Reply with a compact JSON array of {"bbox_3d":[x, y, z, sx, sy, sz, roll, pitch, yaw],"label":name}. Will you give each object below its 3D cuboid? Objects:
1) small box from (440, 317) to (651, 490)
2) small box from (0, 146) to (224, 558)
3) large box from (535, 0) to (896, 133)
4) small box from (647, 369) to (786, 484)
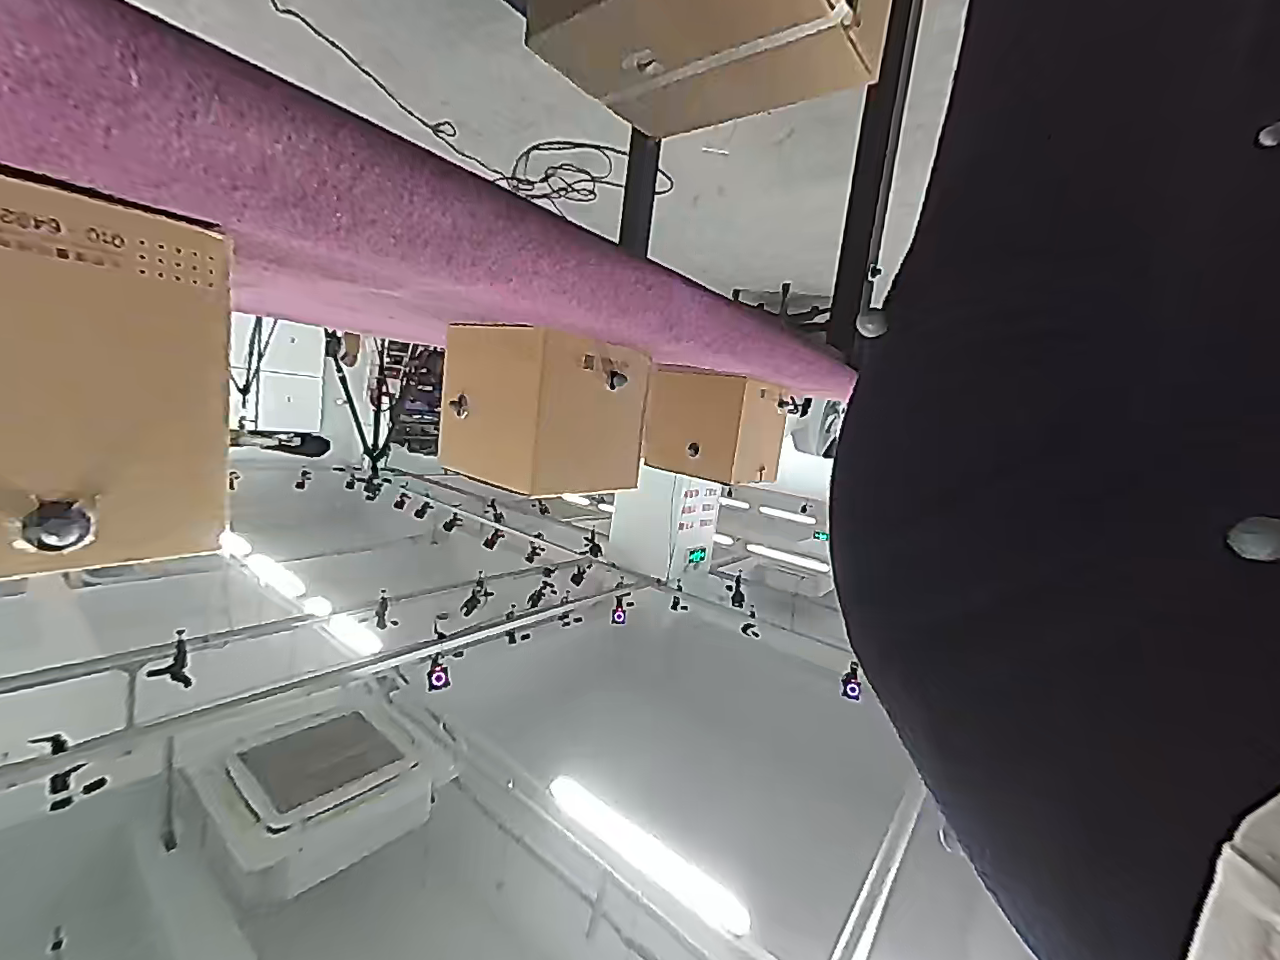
[{"bbox_3d":[-0.106,-0.089,0.627,0.179,0.176,0.168,14,-169,38],"label":"small box"},{"bbox_3d":[-0.325,-0.067,0.262,0.179,0.176,0.168,16,-168,34],"label":"small box"},{"bbox_3d":[0.113,-0.747,0.740,0.408,0.320,0.320,15,-170,39],"label":"large box"},{"bbox_3d":[0.136,-0.094,0.925,0.179,0.176,0.168,15,-170,38],"label":"small box"}]
